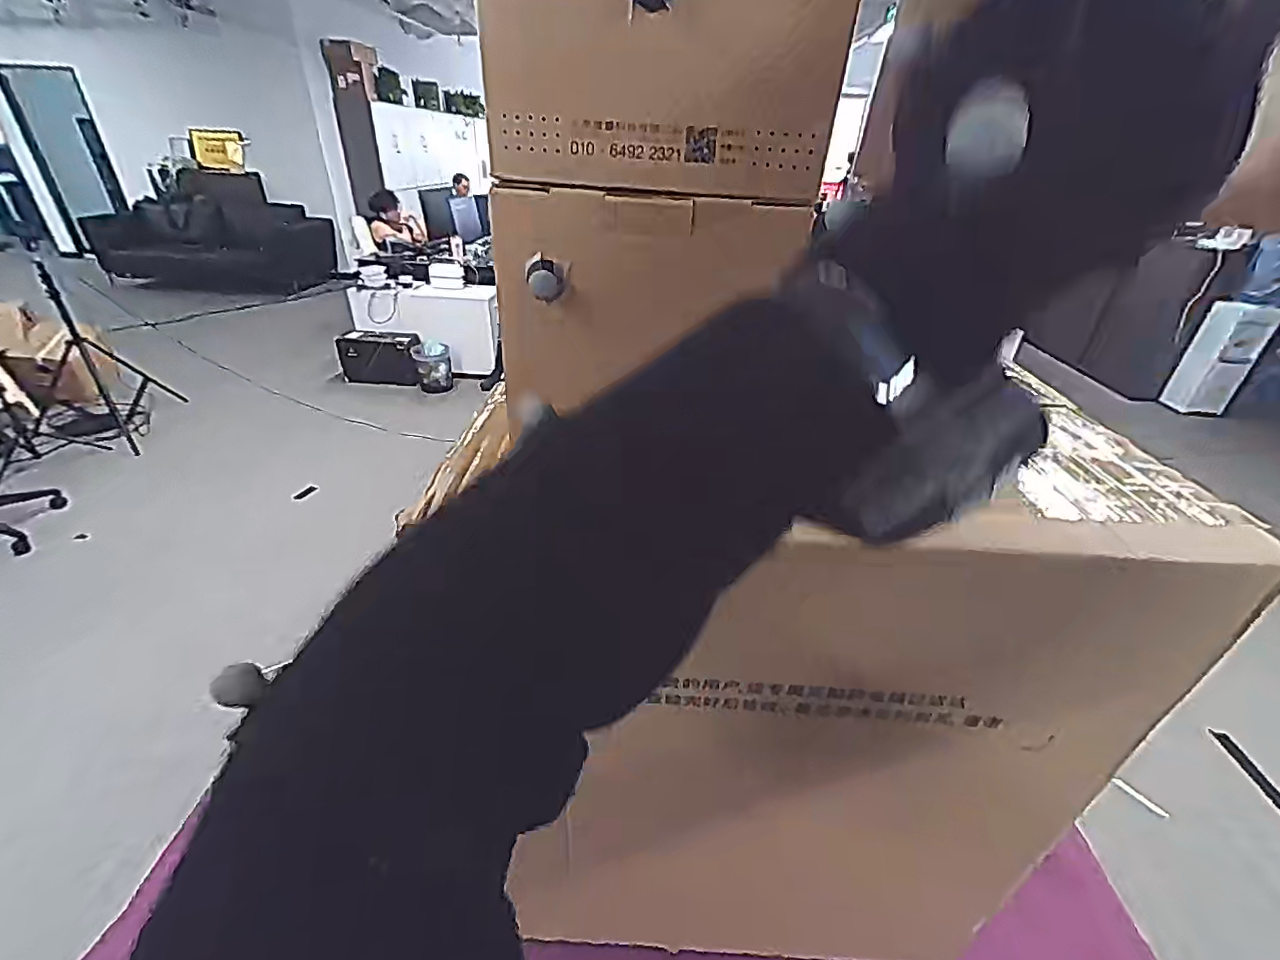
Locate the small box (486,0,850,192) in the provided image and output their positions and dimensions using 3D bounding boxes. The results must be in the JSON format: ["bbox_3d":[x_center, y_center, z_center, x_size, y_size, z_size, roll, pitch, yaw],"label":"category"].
[{"bbox_3d":[0.018,-0.260,0.296,0.168,0.176,0.179,6,31,1],"label":"small box"}]
